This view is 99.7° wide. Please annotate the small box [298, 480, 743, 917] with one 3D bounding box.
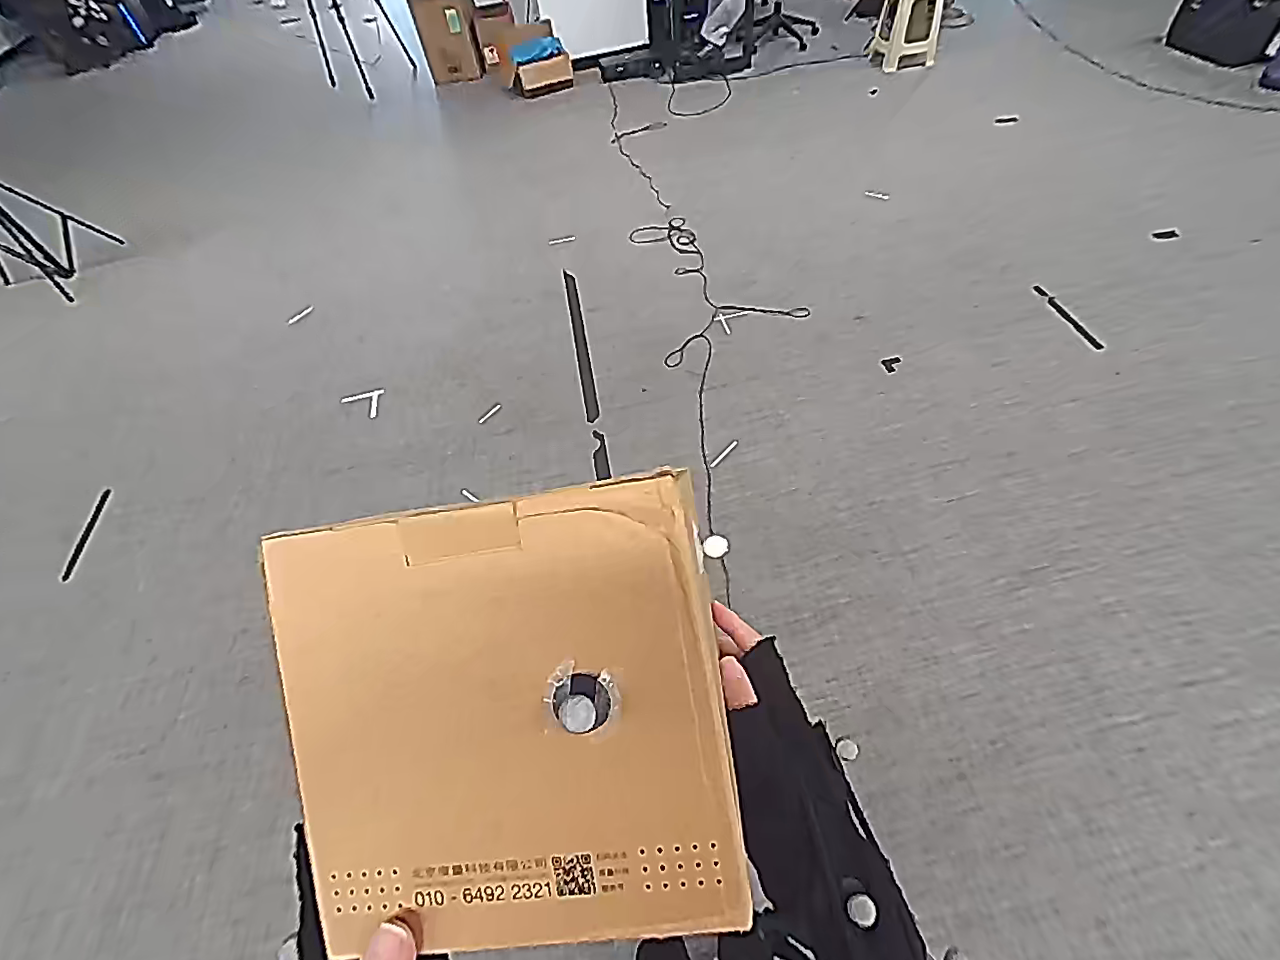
[{"bbox_3d":[-0.040,0.099,0.299,0.168,0.179,0.176,-9,90,8],"label":"small box"}]
